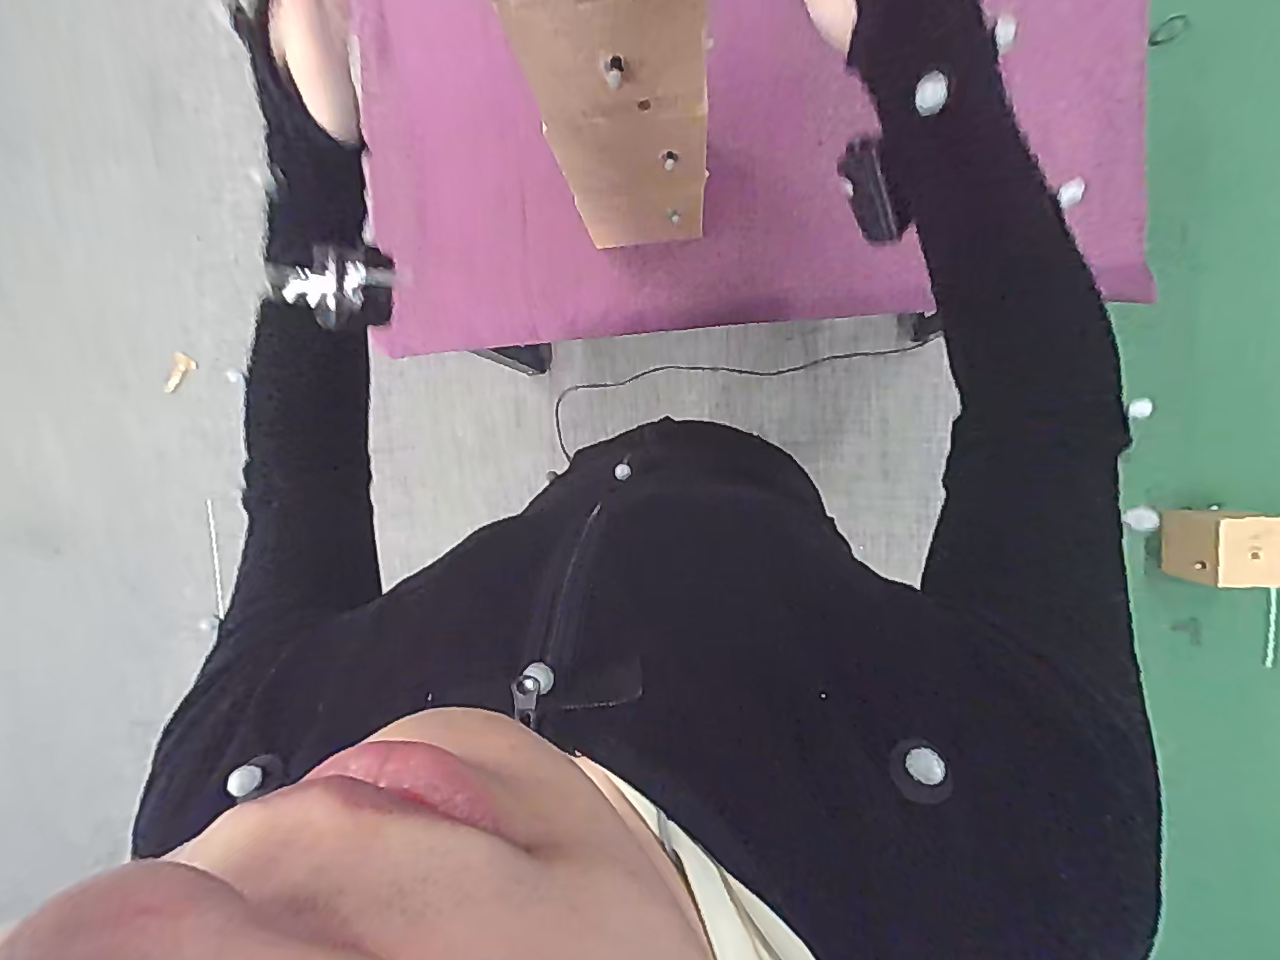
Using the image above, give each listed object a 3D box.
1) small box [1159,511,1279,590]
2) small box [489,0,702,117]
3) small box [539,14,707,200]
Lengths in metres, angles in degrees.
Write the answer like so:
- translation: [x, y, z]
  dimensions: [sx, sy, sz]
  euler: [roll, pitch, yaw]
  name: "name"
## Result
- translation: [1.503, 0.178, 1.402]
  dimensions: [0.168, 0.176, 0.179]
  euler: [-2, 93, 6]
  name: "small box"
- translation: [-0.032, -0.453, 0.474]
  dimensions: [0.168, 0.176, 0.179]
  euler: [-5, 93, 5]
  name: "small box"
- translation: [-0.016, -0.455, 0.636]
  dimensions: [0.179, 0.176, 0.168]
  euler: [-3, 92, 6]
  name: "small box"
